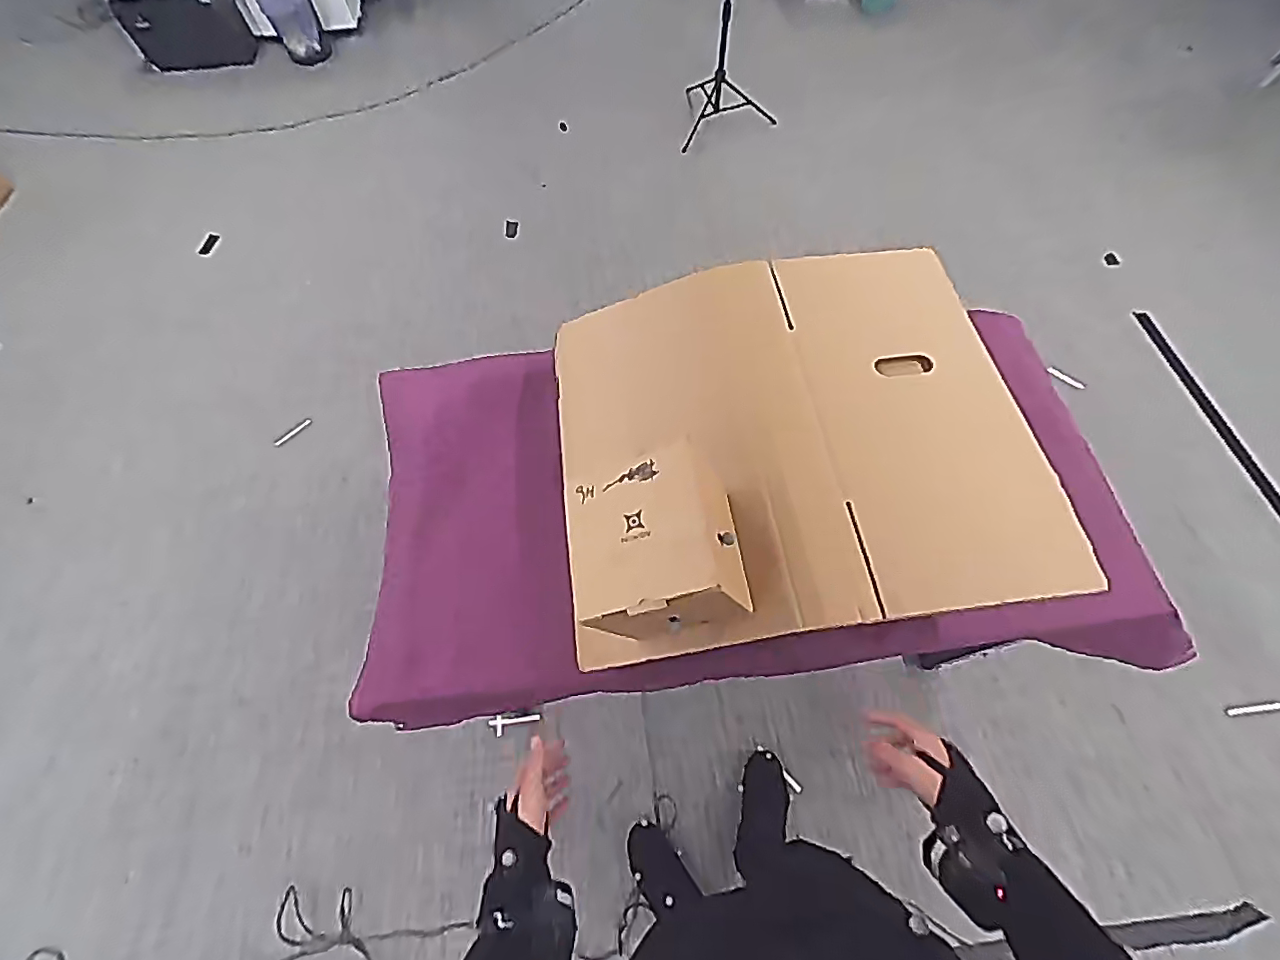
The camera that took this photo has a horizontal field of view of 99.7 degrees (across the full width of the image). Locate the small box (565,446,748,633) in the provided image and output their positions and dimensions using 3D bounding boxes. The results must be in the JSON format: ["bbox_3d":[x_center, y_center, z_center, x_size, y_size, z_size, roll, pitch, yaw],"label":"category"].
[{"bbox_3d":[0.025,0.087,0.670,0.168,0.176,0.179,-17,63,16],"label":"small box"}]
